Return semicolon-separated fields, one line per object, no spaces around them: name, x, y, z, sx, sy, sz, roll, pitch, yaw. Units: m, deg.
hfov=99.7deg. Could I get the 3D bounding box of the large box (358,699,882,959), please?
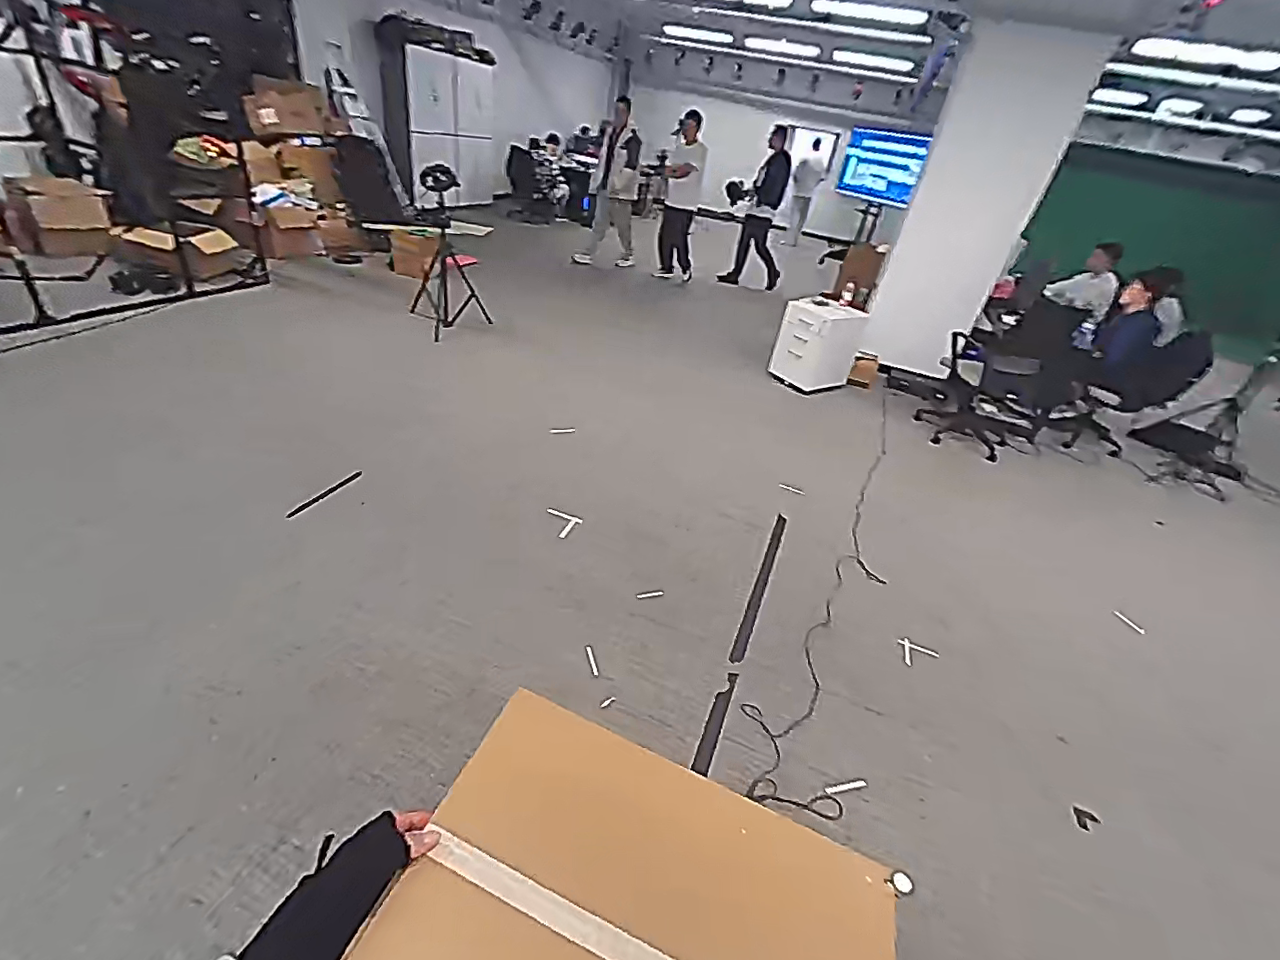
large box;-0.031;0.500;0.528;0.408;0.320;0.320;22;39;10
